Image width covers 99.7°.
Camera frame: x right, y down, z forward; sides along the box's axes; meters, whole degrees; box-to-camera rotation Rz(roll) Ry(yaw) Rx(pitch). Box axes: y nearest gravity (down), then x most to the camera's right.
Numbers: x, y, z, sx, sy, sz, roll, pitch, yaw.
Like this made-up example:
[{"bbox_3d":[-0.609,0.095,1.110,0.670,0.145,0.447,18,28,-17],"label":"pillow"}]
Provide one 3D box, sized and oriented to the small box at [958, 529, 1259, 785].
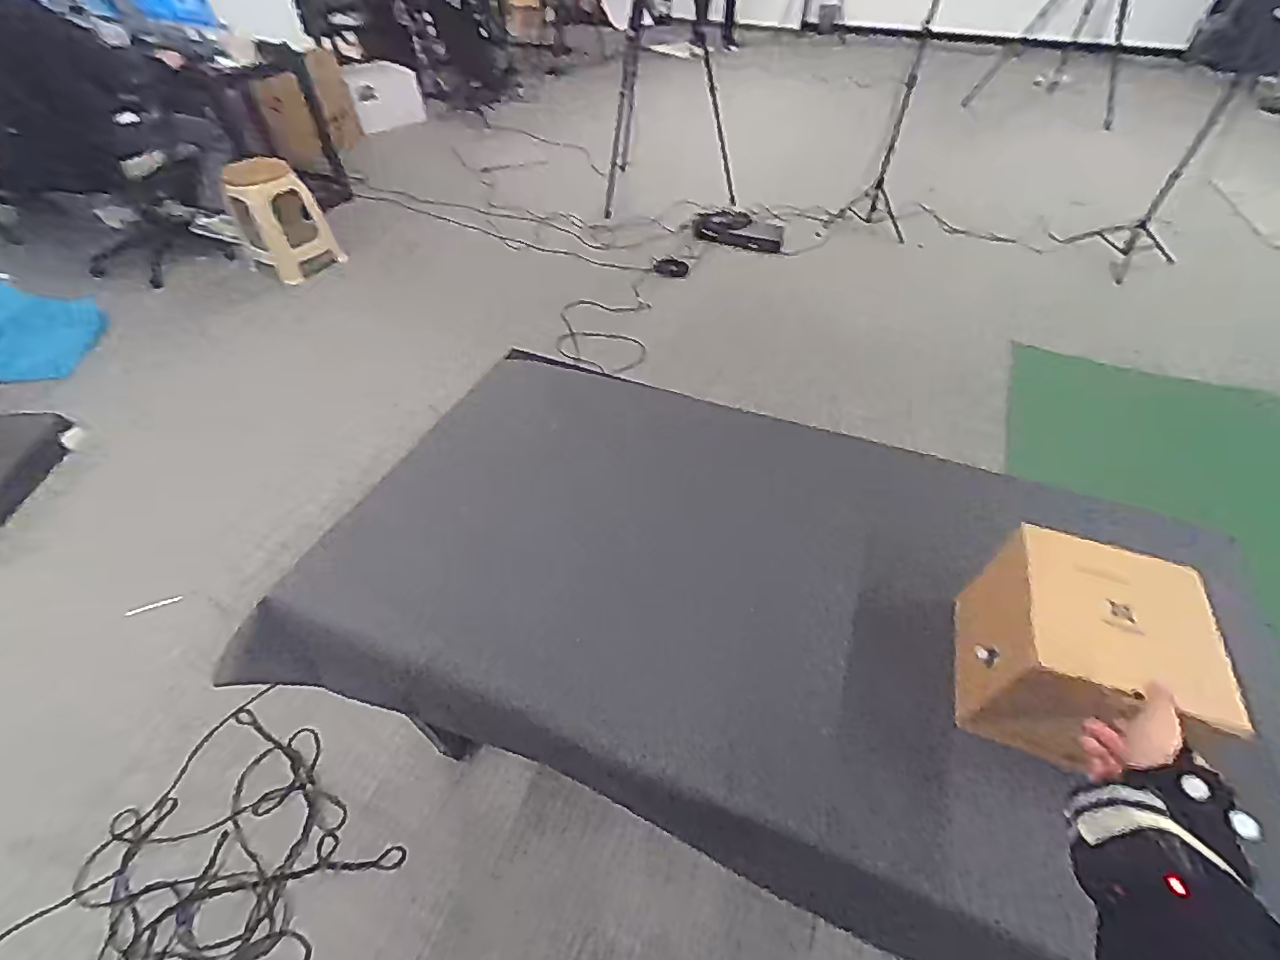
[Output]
[{"bbox_3d":[0.458,0.188,0.570,0.168,0.176,0.179,17,48,13],"label":"small box"}]
